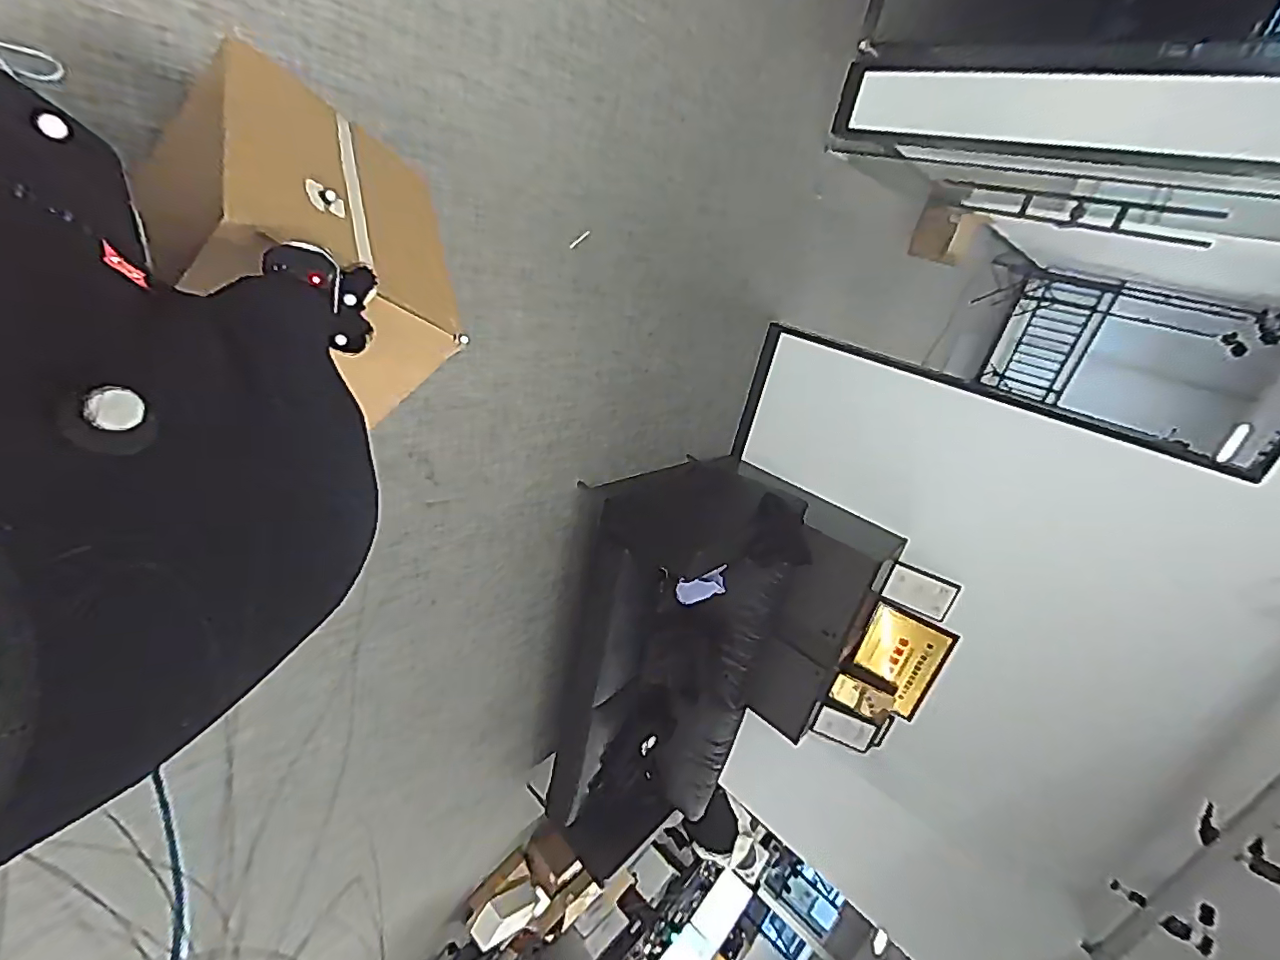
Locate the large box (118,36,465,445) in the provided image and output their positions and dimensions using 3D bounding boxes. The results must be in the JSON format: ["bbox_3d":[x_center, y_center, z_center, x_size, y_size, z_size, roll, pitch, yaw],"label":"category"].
[{"bbox_3d":[-0.525,-0.326,0.822,0.320,0.408,0.320,-32,153,23],"label":"large box"}]
